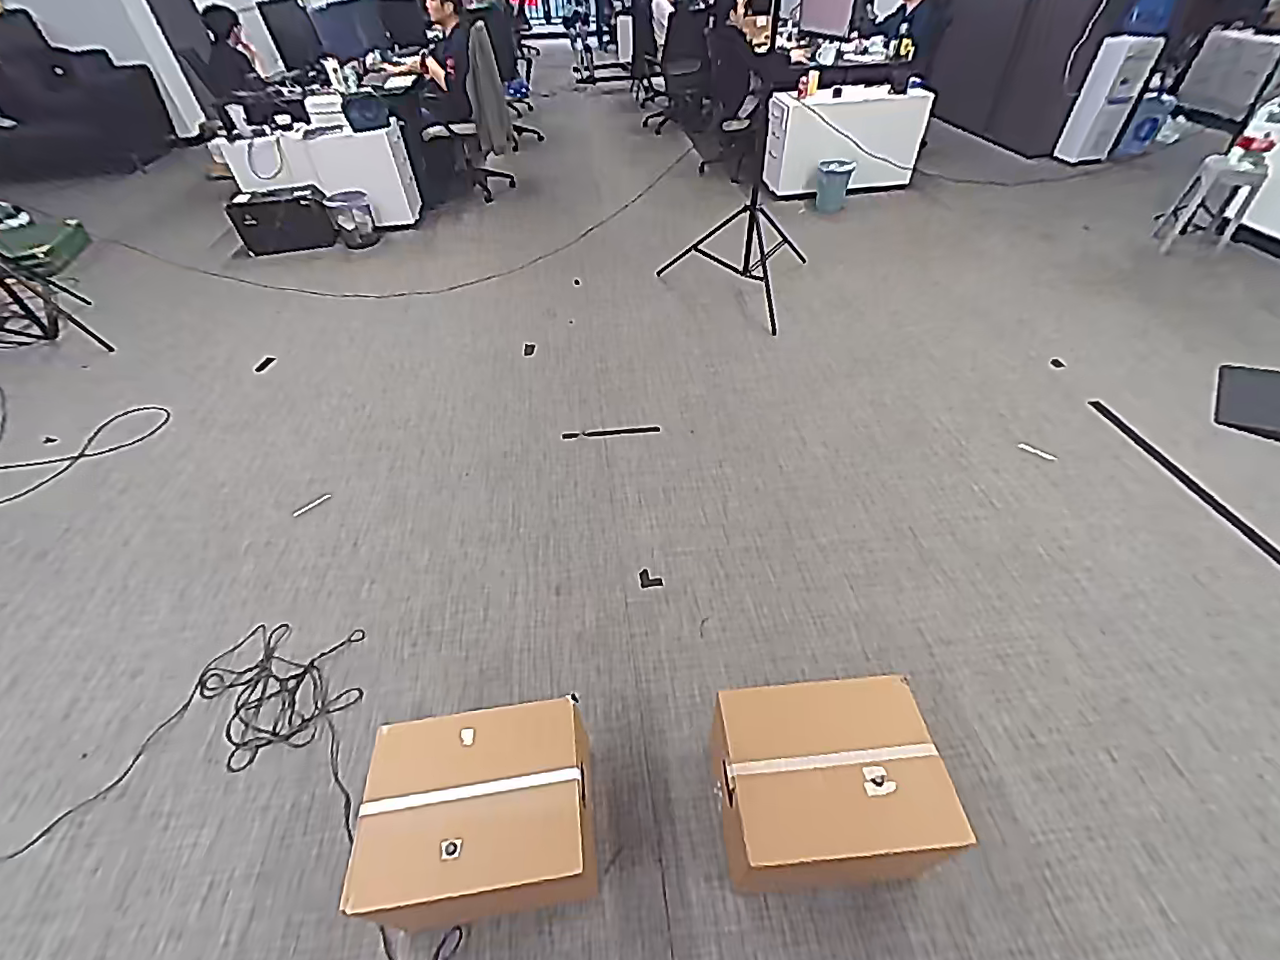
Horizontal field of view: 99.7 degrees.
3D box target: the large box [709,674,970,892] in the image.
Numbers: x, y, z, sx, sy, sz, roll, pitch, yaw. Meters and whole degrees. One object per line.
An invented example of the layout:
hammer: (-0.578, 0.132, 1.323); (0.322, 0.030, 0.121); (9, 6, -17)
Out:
large box: (0.380, 0.647, 1.158); (0.408, 0.320, 0.320); (-4, 46, -2)
